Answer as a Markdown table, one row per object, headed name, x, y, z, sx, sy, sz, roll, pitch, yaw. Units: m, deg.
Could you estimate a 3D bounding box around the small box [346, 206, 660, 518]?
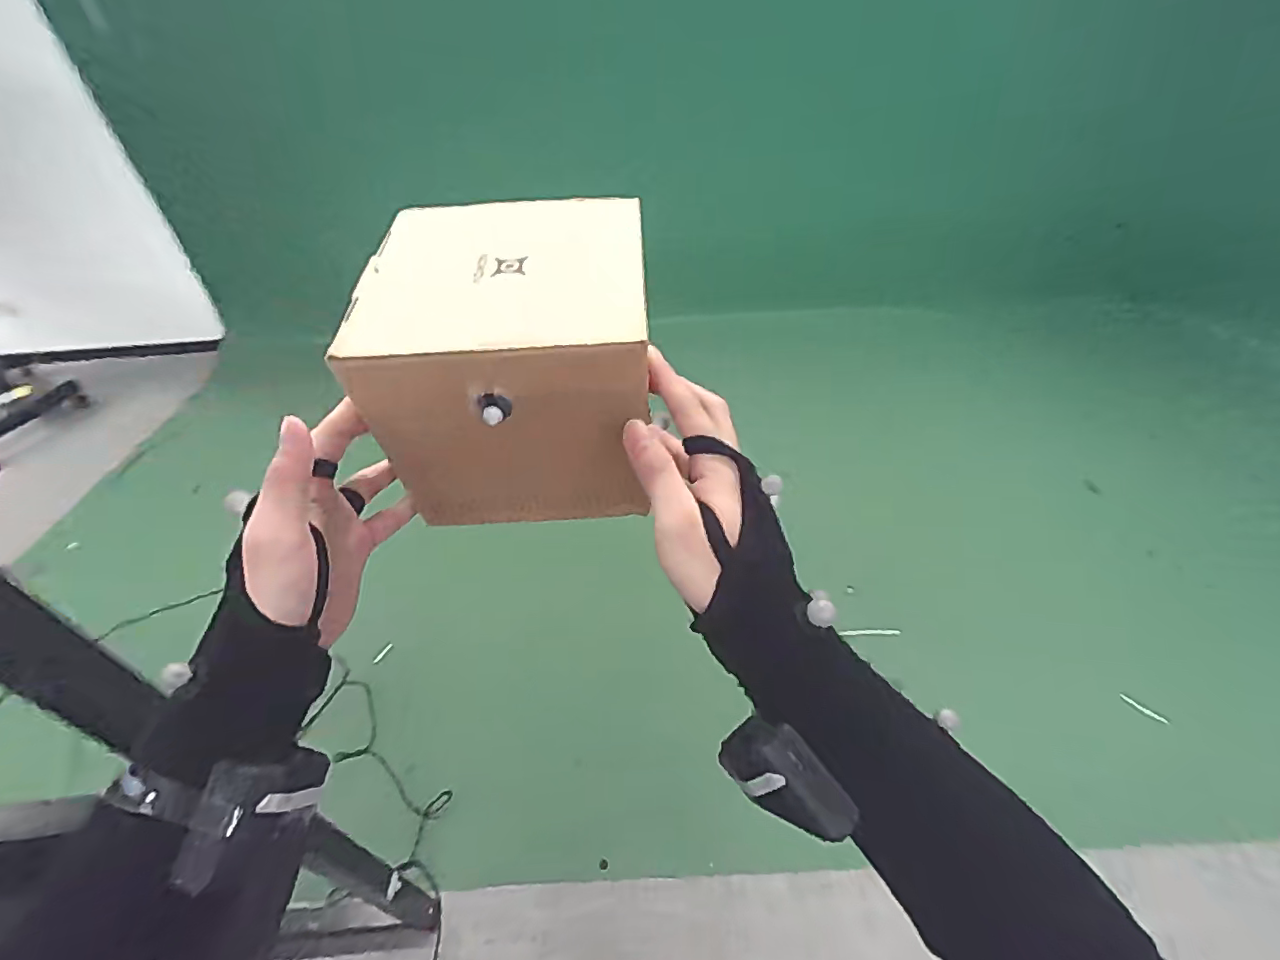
| name | x | y | z | sx | sy | sz | roll | pitch | yaw |
| --- | --- | --- | --- | --- | --- | --- | --- | --- | --- |
| small box | -0.076 | -0.083 | 0.410 | 0.179 | 0.176 | 0.168 | -2 | 52 | 1 |
